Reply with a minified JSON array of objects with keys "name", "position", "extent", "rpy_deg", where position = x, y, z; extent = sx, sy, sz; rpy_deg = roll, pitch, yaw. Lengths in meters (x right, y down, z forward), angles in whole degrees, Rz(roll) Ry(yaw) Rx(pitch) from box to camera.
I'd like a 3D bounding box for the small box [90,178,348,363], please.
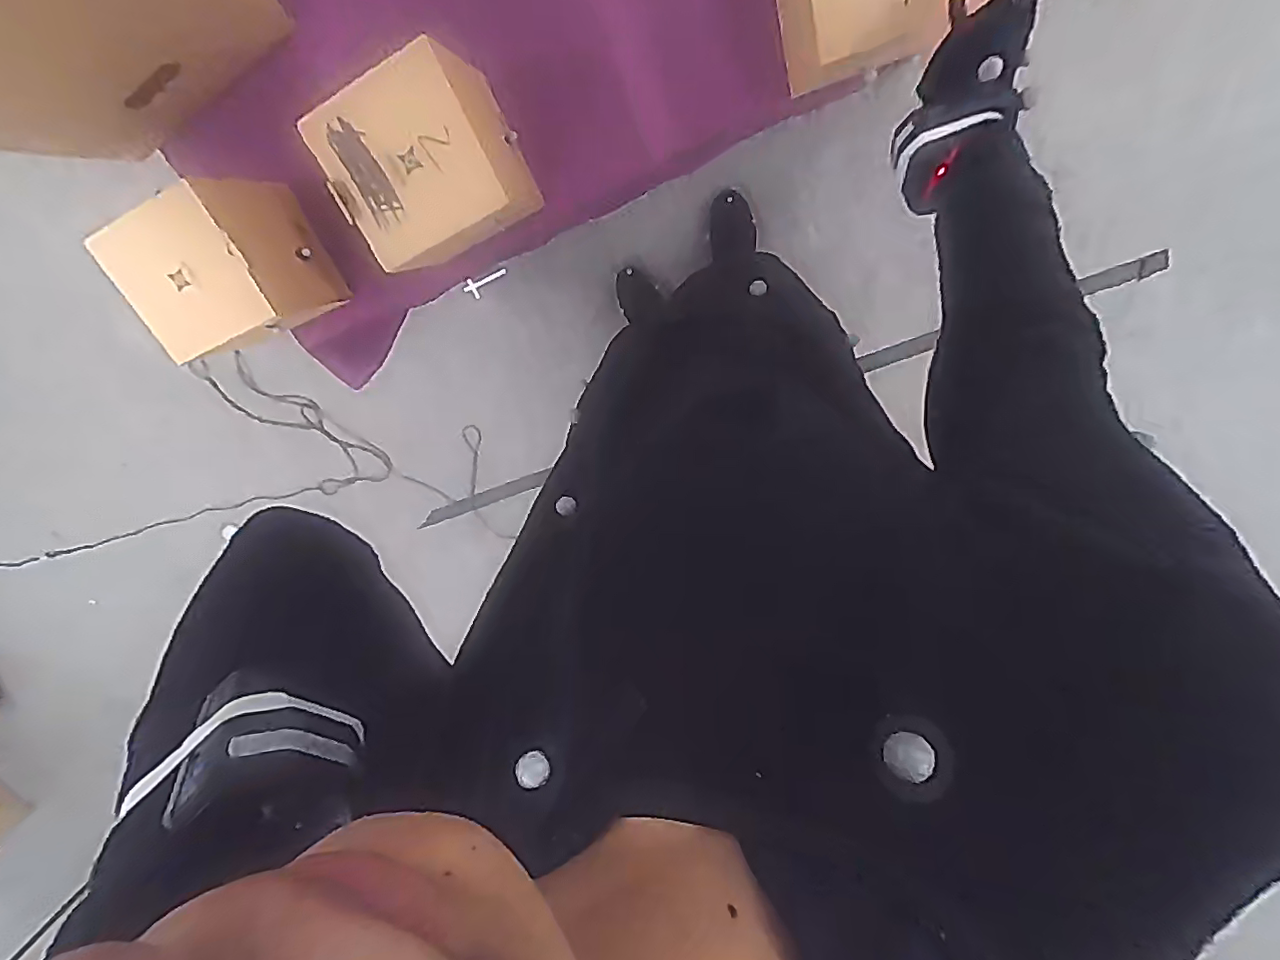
[{"name":"small box","position":[-0.546,-0.281,0.729],"extent":[0.179,0.176,0.168],"rpy_deg":[-19,113,14]}]
